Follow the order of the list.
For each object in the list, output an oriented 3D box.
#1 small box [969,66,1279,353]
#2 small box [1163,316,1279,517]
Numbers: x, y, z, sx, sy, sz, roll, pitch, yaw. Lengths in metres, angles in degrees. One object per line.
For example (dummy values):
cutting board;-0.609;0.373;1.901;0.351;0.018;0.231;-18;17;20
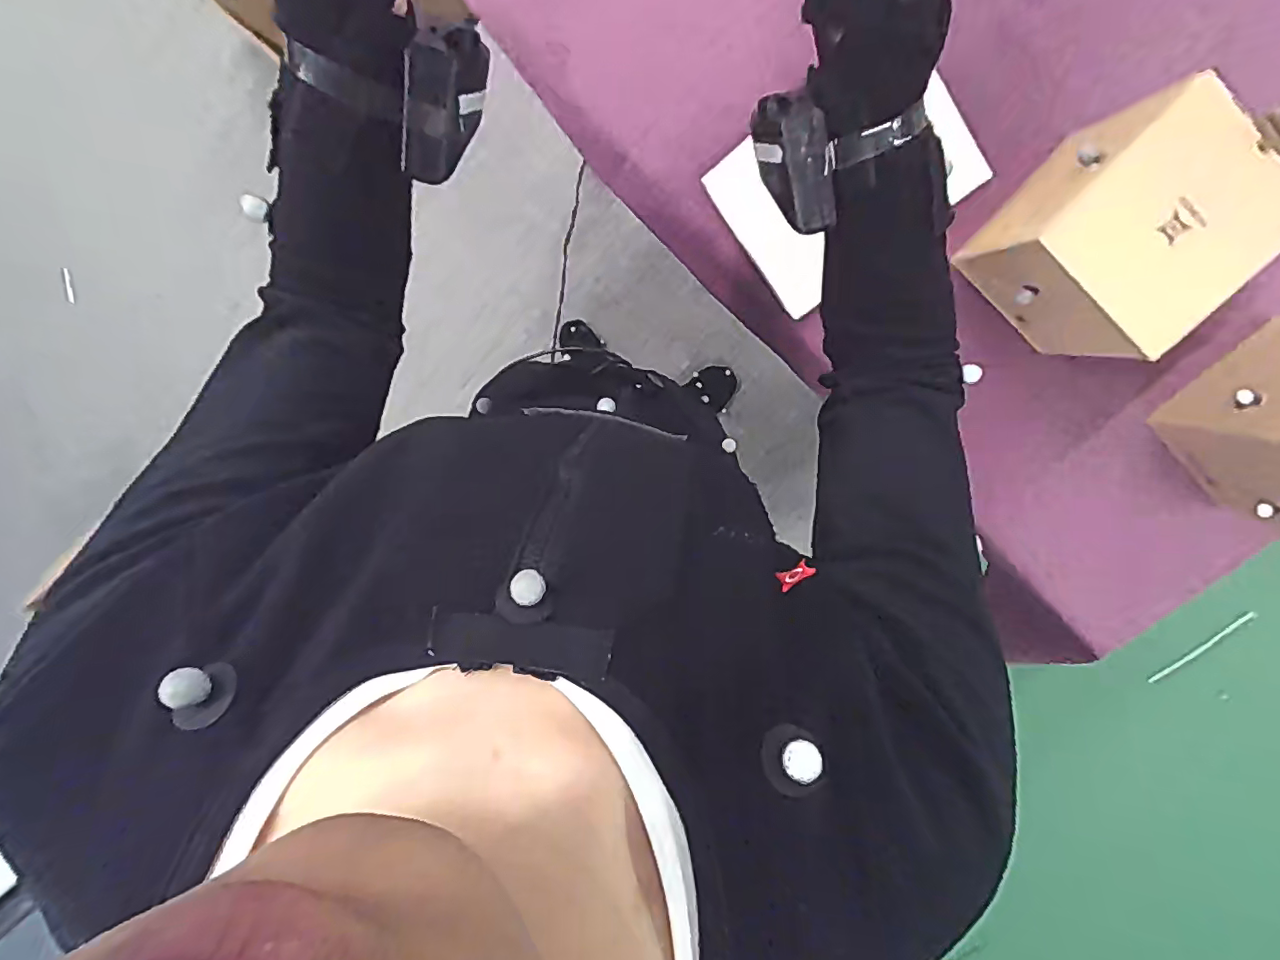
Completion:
small box;0.480;-0.251;0.554;0.168;0.176;0.179;41;104;-7
small box;0.738;-0.063;0.587;0.168;0.176;0.179;44;103;-8
